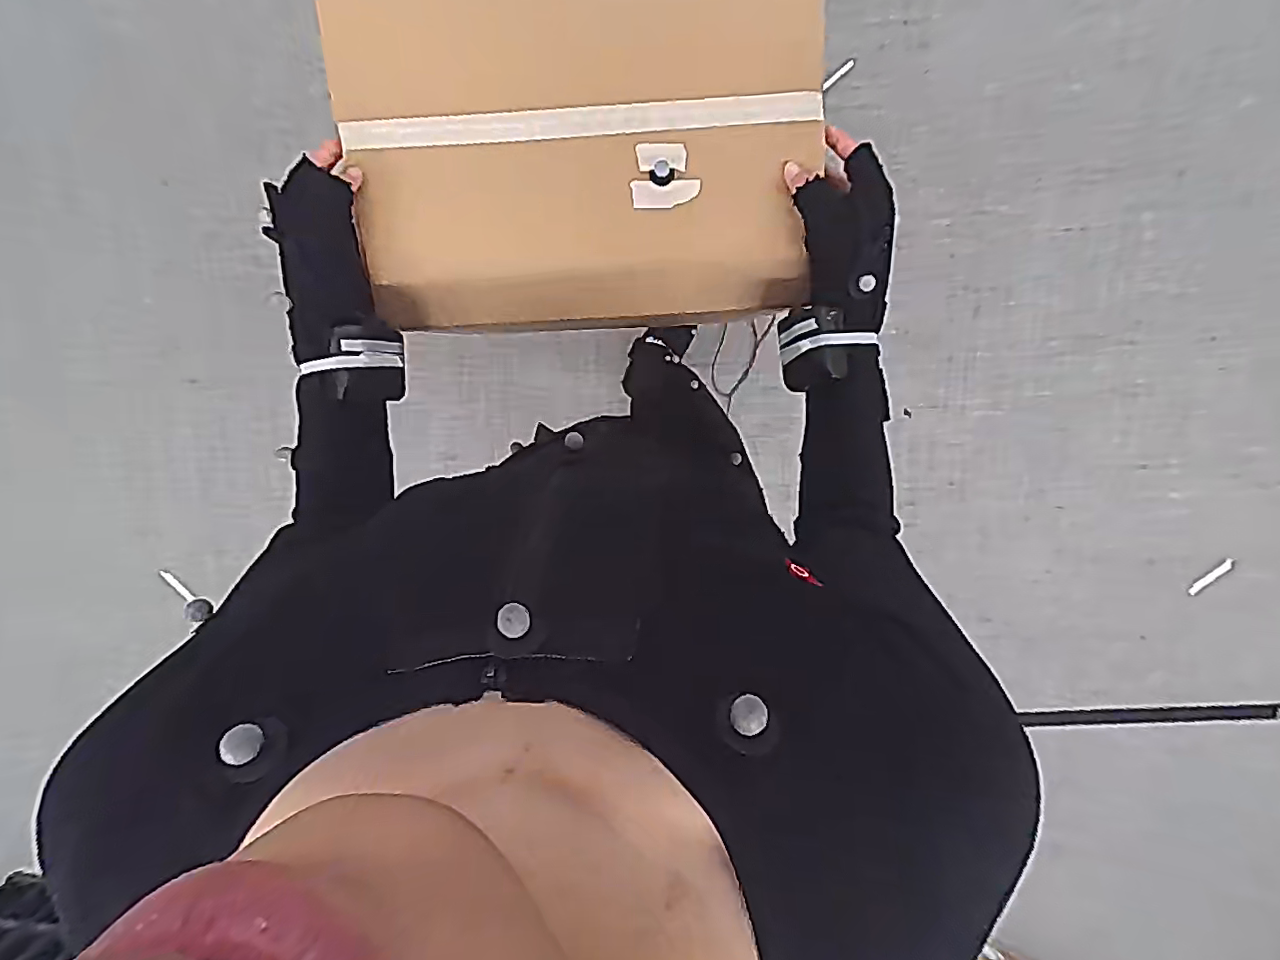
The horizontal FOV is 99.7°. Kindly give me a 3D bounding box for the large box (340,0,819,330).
[{"bbox_3d":[-0.047,-0.347,0.611,0.408,0.320,0.320,-3,104,0],"label":"large box"}]
